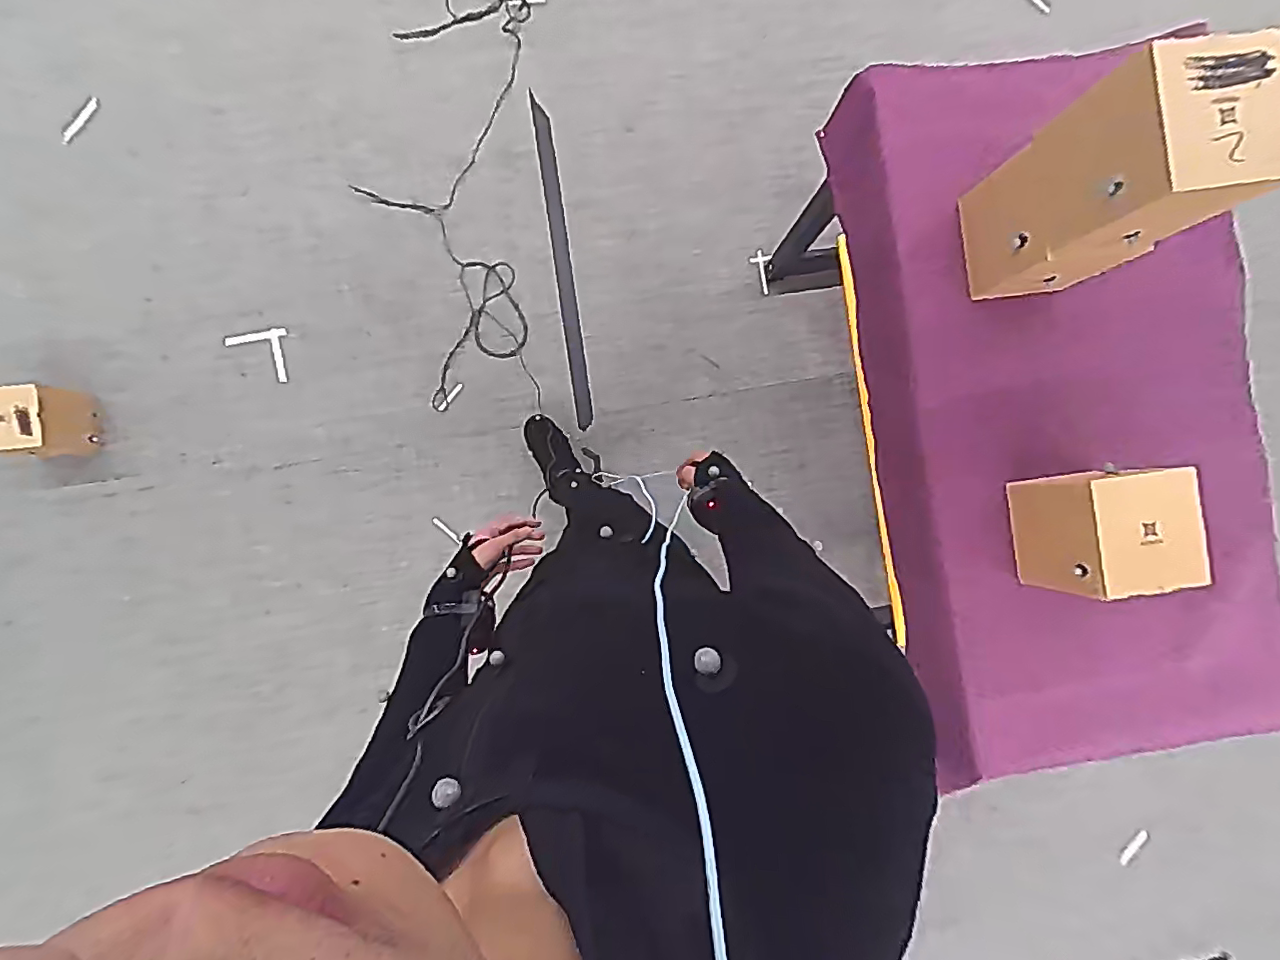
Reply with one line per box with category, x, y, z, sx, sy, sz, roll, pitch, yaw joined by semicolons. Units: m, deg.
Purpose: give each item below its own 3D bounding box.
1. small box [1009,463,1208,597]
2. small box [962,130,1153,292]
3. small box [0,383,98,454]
small box;0.724;0.073;0.856;0.168;0.176;0.179;-8;90;-4
small box;0.643;-0.409;0.852;0.168;0.176;0.179;-7;90;-4
small box;-1.622;-0.161;1.457;0.179;0.176;0.168;-6;89;-2
